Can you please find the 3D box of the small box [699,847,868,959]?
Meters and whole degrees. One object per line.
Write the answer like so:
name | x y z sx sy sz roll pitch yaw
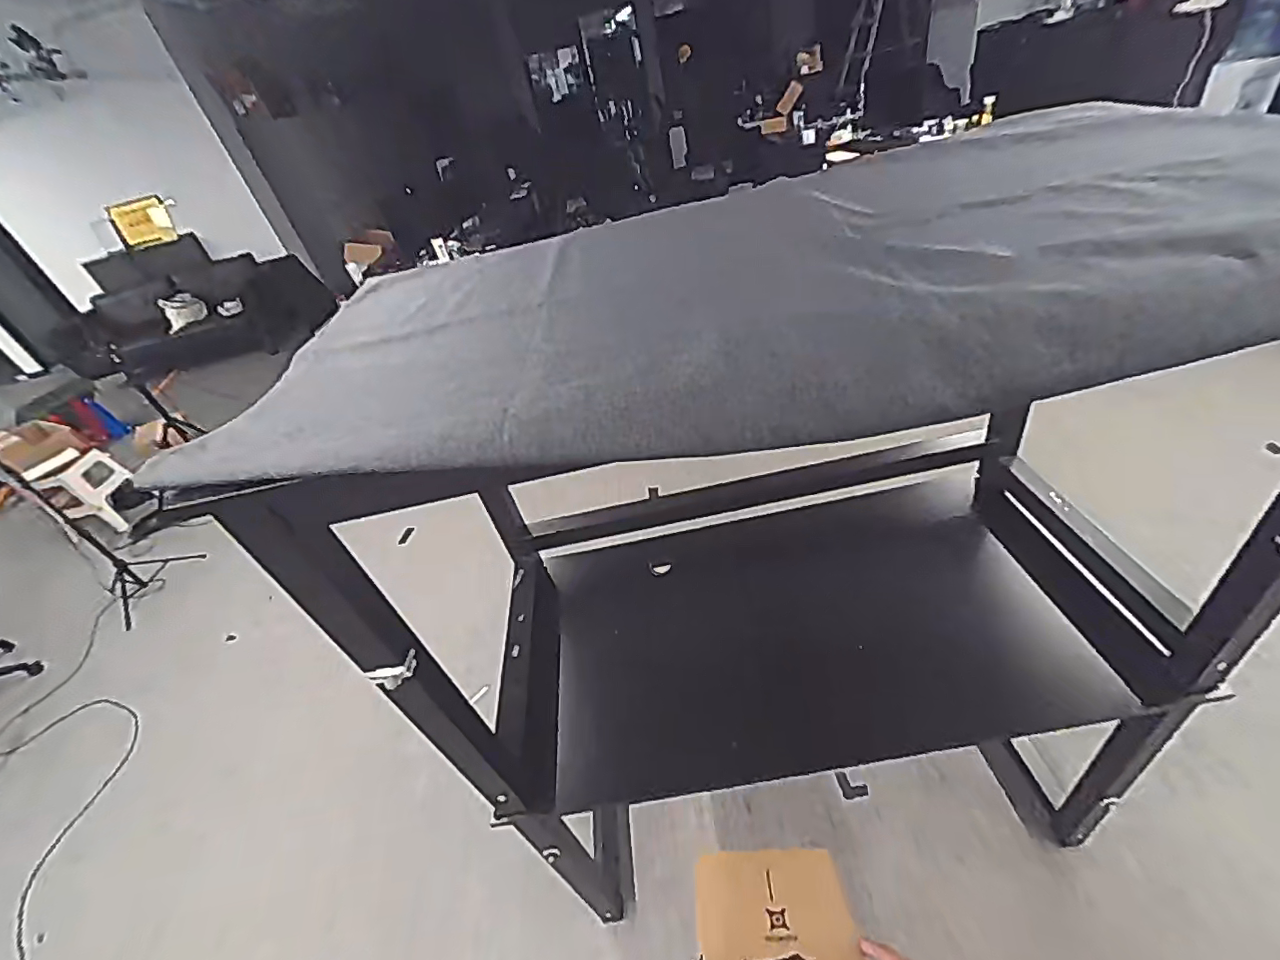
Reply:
small box | 0.158 0.559 0.611 0.168 0.176 0.179 -3 19 1
